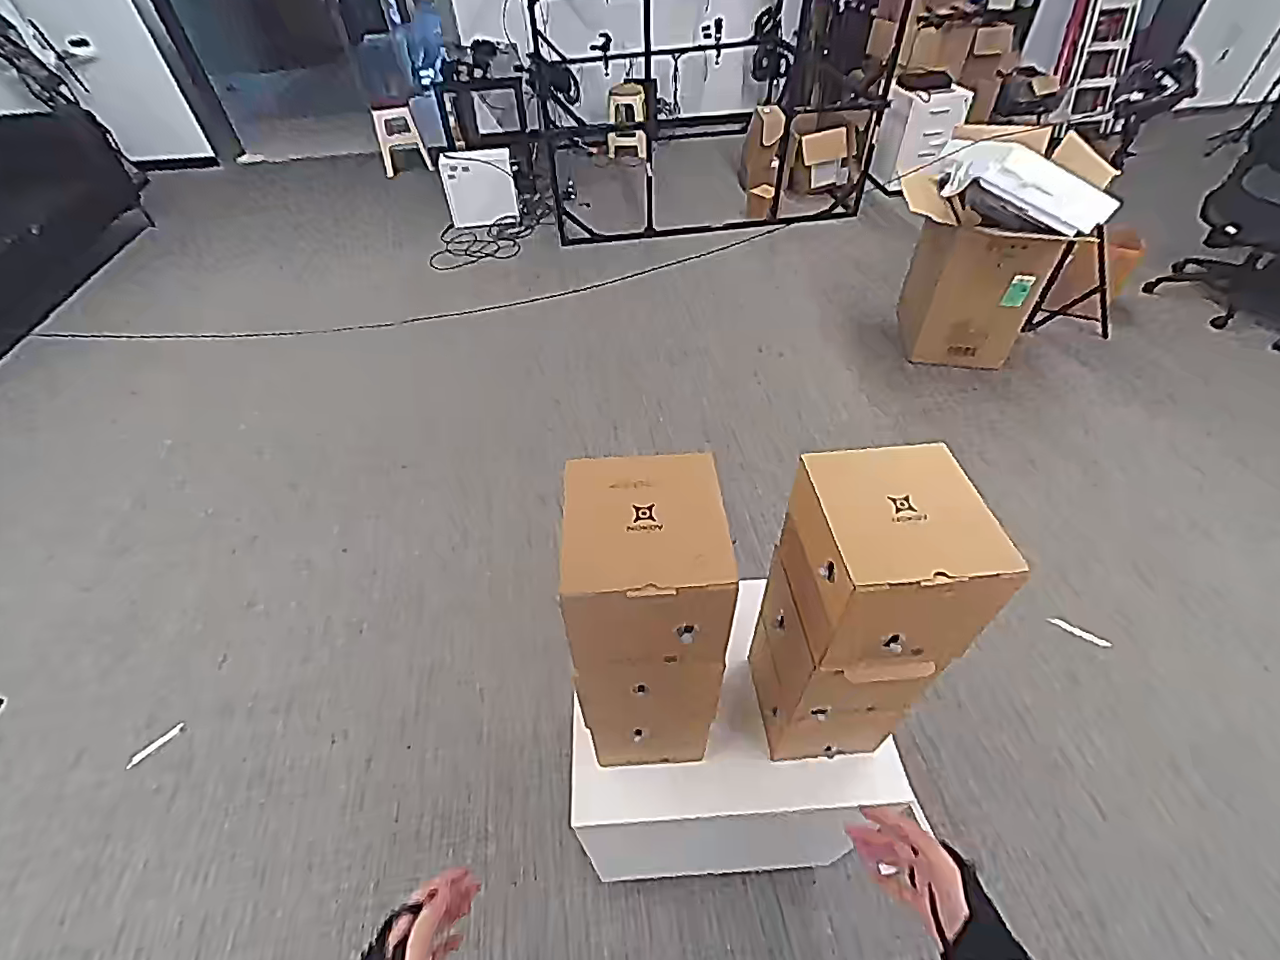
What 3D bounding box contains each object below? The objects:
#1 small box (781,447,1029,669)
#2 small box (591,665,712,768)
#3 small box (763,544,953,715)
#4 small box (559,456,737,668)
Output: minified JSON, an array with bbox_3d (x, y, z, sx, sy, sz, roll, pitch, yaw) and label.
[{"bbox_3d":[0.265,0.086,0.598,0.168,0.176,0.179,-5,47,-2],"label":"small box"},{"bbox_3d":[0.014,0.322,0.836,0.168,0.176,0.179,-3,46,-1],"label":"small box"},{"bbox_3d":[0.270,0.196,0.718,0.168,0.176,0.179,-5,46,-2],"label":"small box"},{"bbox_3d":[0.006,0.096,0.599,0.168,0.176,0.179,-3,46,-2],"label":"small box"}]
